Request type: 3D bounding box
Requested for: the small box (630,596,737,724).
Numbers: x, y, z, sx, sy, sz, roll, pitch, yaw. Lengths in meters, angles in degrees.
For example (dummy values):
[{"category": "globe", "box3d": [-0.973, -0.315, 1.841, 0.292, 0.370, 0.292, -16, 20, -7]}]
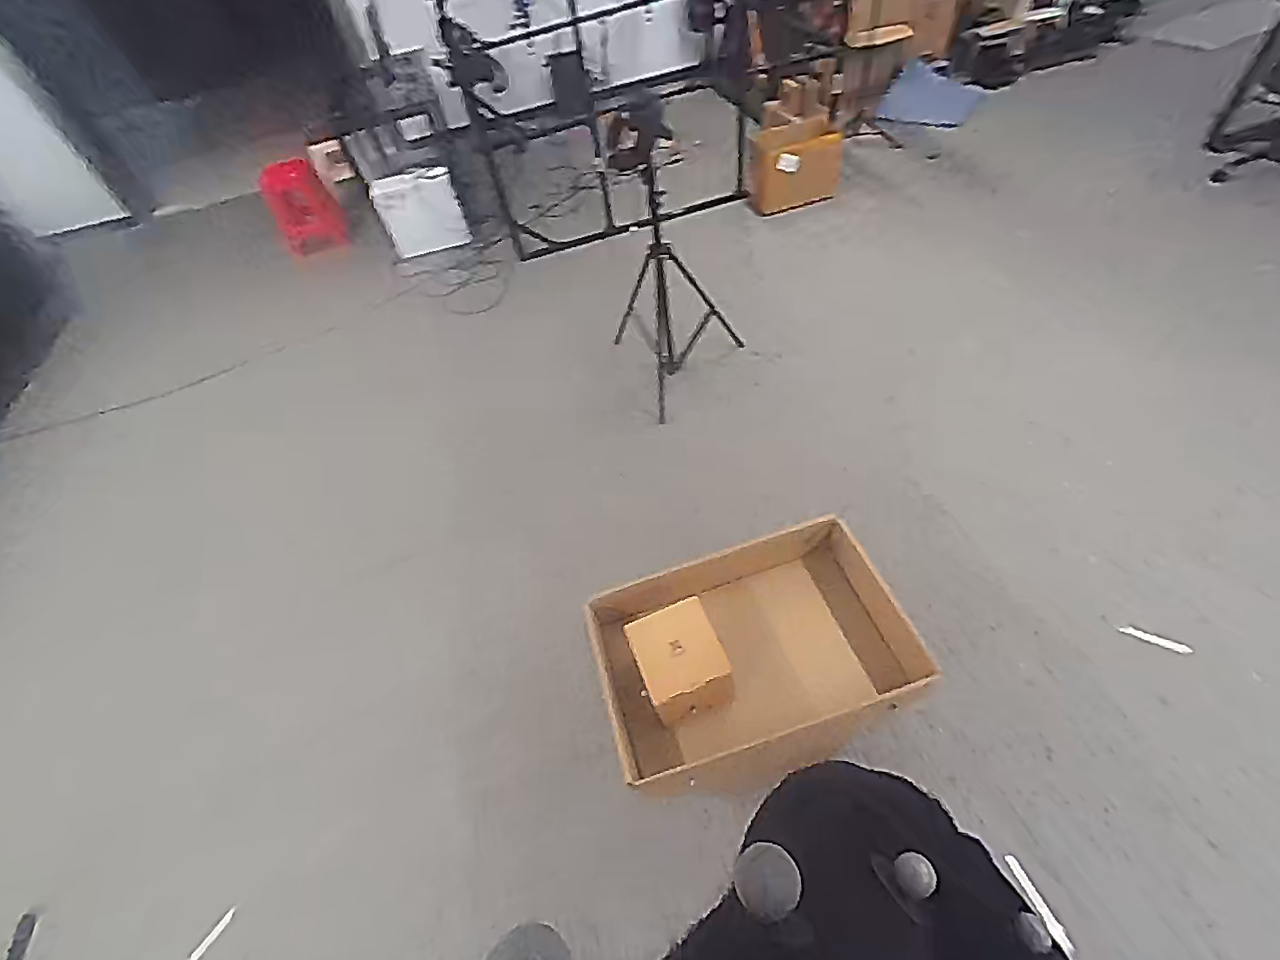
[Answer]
[{"category": "small box", "box3d": [0.091, 0.378, 1.129, 0.168, 0.176, 0.179, -22, 51, -6]}]
